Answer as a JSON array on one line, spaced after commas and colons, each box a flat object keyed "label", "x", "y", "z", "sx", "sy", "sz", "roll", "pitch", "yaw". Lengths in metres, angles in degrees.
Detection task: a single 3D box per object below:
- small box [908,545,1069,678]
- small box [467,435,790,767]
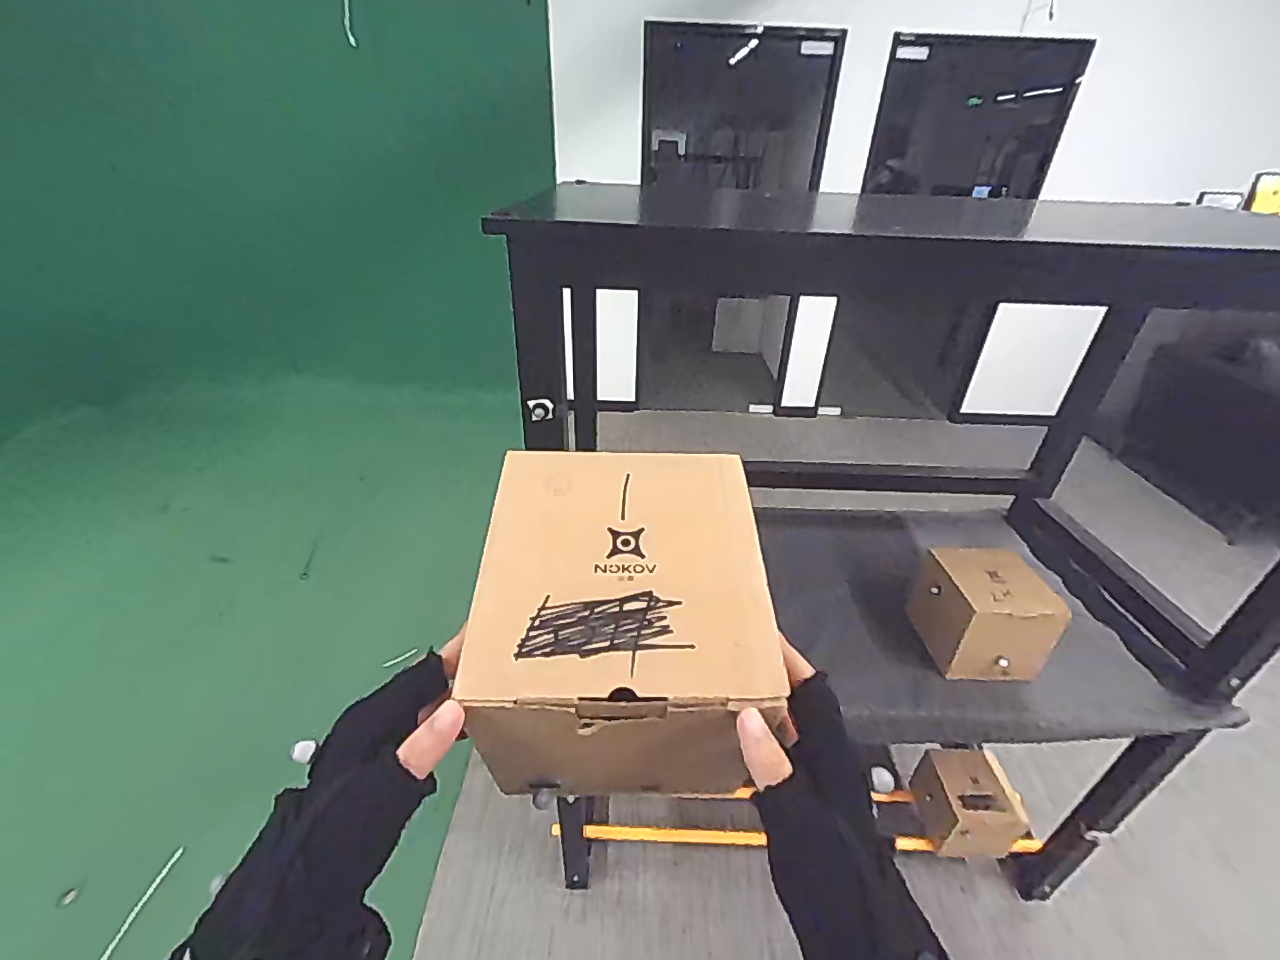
[{"label": "small box", "x": 0.630, "y": 0.241, "z": 1.008, "sx": 0.168, "sy": 0.176, "sz": 0.179, "roll": 1, "pitch": 30, "yaw": -1}, {"label": "small box", "x": -0.007, "y": 0.088, "z": 0.381, "sx": 0.168, "sy": 0.176, "sz": 0.179, "roll": 1, "pitch": 45, "yaw": -2}]
